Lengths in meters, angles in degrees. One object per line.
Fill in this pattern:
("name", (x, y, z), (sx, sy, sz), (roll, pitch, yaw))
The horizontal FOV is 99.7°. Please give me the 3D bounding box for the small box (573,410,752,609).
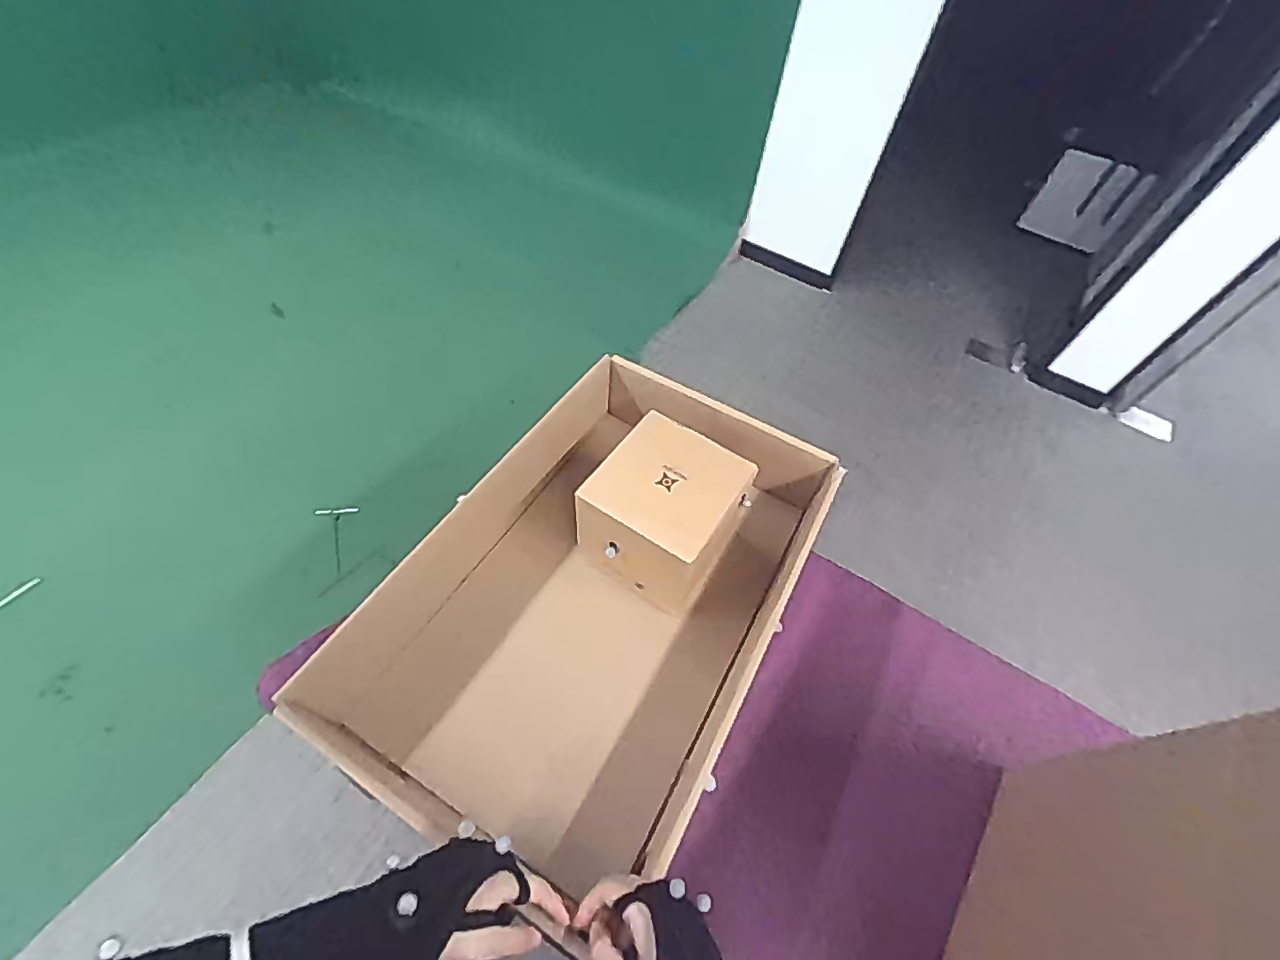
("small box", (0.028, 0.045, 0.739), (0.168, 0.176, 0.179), (30, 58, 16))
